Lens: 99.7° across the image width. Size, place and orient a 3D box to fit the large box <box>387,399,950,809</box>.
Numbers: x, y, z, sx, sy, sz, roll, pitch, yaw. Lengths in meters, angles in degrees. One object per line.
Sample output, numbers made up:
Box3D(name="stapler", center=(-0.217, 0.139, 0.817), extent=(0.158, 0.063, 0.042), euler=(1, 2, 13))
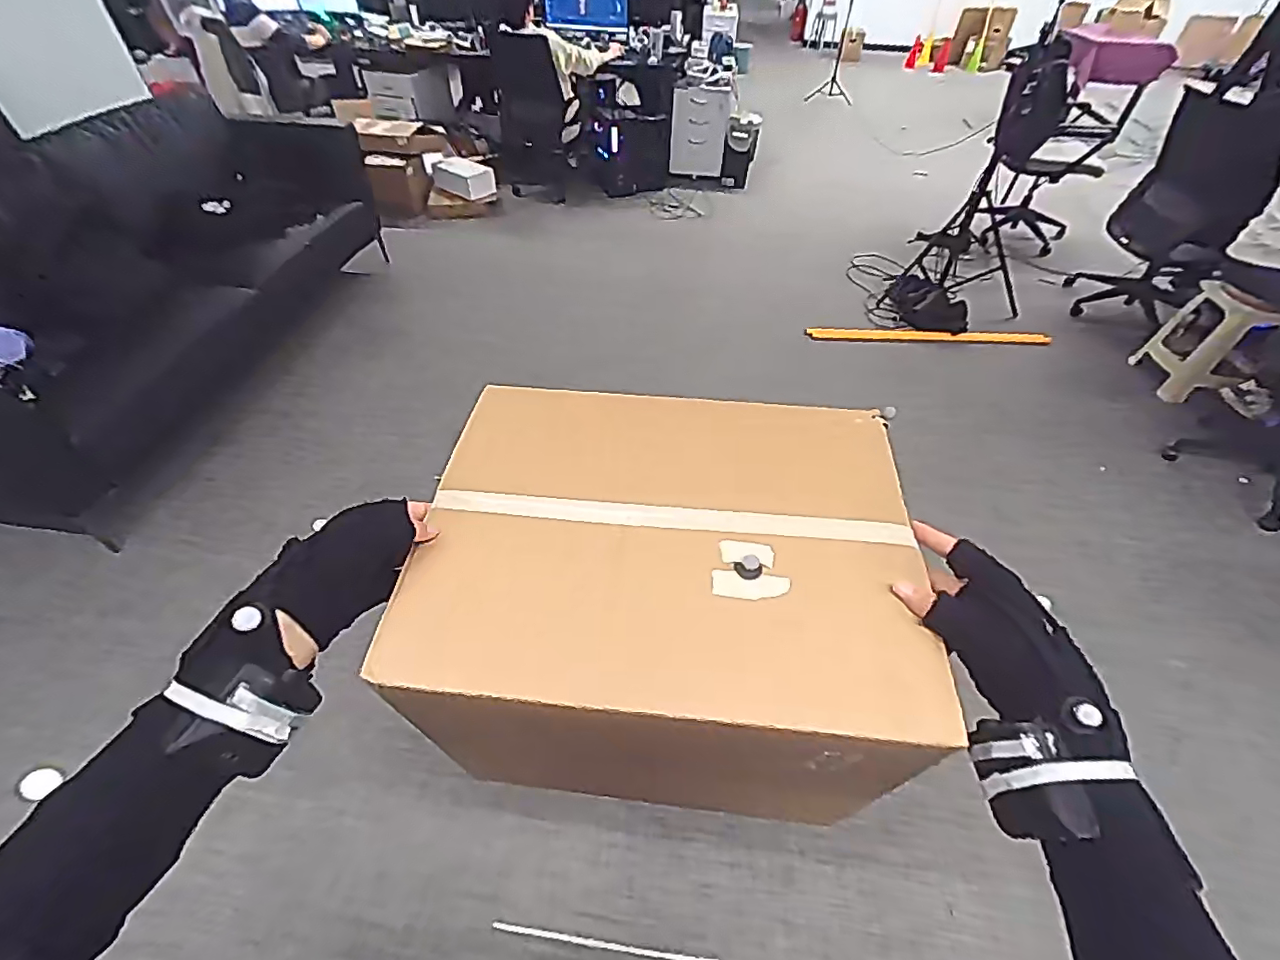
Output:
Box3D(name="large box", center=(0.027, 0.136, 0.583), extent=(0.408, 0.320, 0.320), euler=(4, 51, 4))
